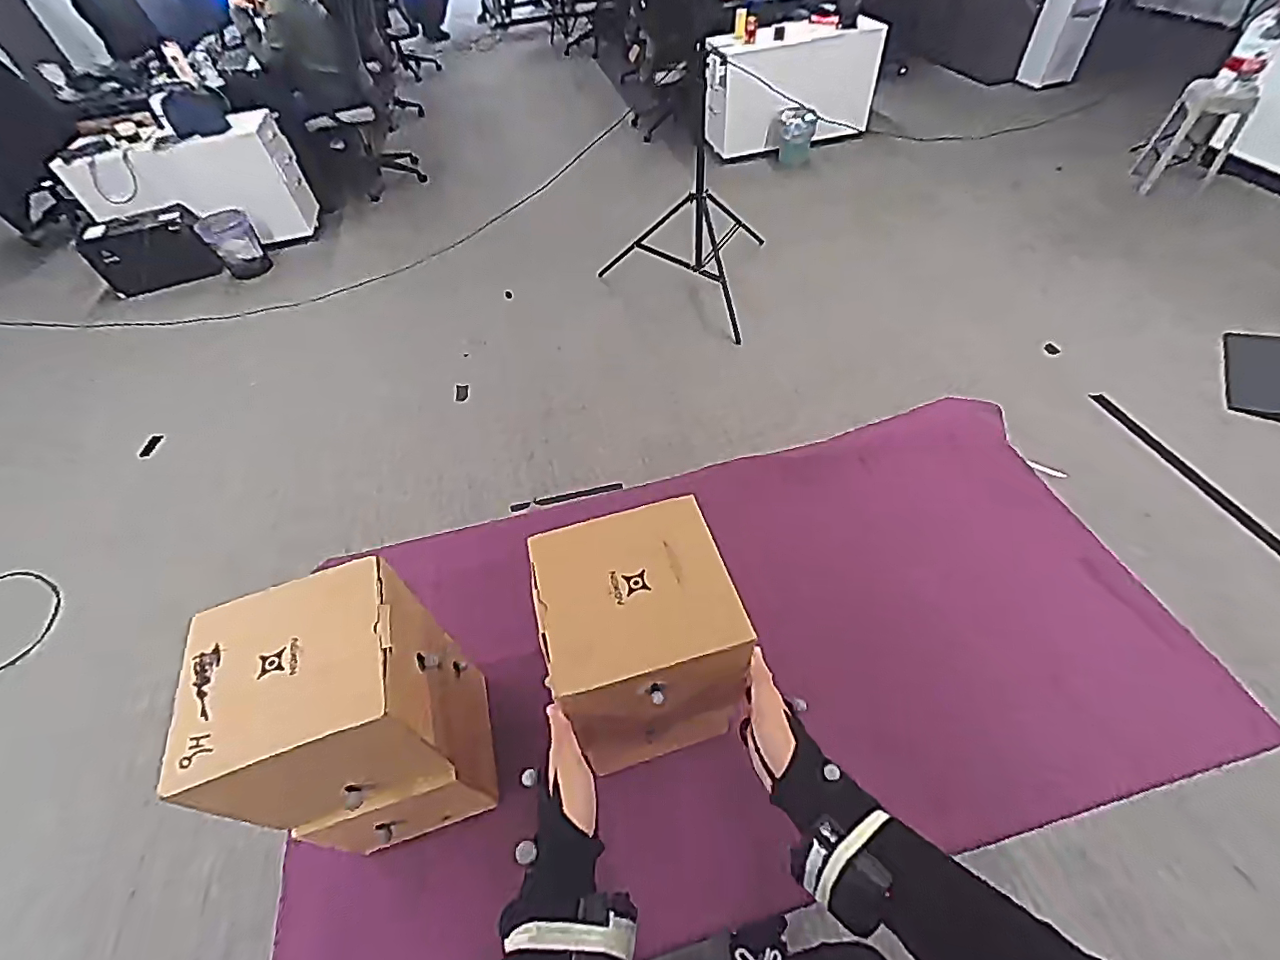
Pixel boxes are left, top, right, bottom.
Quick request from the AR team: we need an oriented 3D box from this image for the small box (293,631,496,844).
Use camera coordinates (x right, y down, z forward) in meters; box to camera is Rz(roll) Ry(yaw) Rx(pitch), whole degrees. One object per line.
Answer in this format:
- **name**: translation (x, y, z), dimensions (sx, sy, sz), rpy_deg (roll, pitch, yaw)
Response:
- **small box**: translation (-0.285, 0.318, 0.658), dimensions (0.168, 0.176, 0.179), rpy_deg (-17, 51, -8)

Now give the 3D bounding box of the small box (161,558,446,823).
- **small box**: translation (-0.304, 0.210, 0.535), dimensions (0.179, 0.176, 0.168), rpy_deg (-18, 51, -9)

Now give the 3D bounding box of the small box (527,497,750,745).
- **small box**: translation (-0.004, 0.148, 0.555), dimensions (0.179, 0.176, 0.168), rpy_deg (-14, 50, -8)

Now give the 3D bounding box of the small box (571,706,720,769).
- **small box**: translation (-0.002, 0.244, 0.689), dimensions (0.179, 0.176, 0.168), rpy_deg (-15, 51, -8)
